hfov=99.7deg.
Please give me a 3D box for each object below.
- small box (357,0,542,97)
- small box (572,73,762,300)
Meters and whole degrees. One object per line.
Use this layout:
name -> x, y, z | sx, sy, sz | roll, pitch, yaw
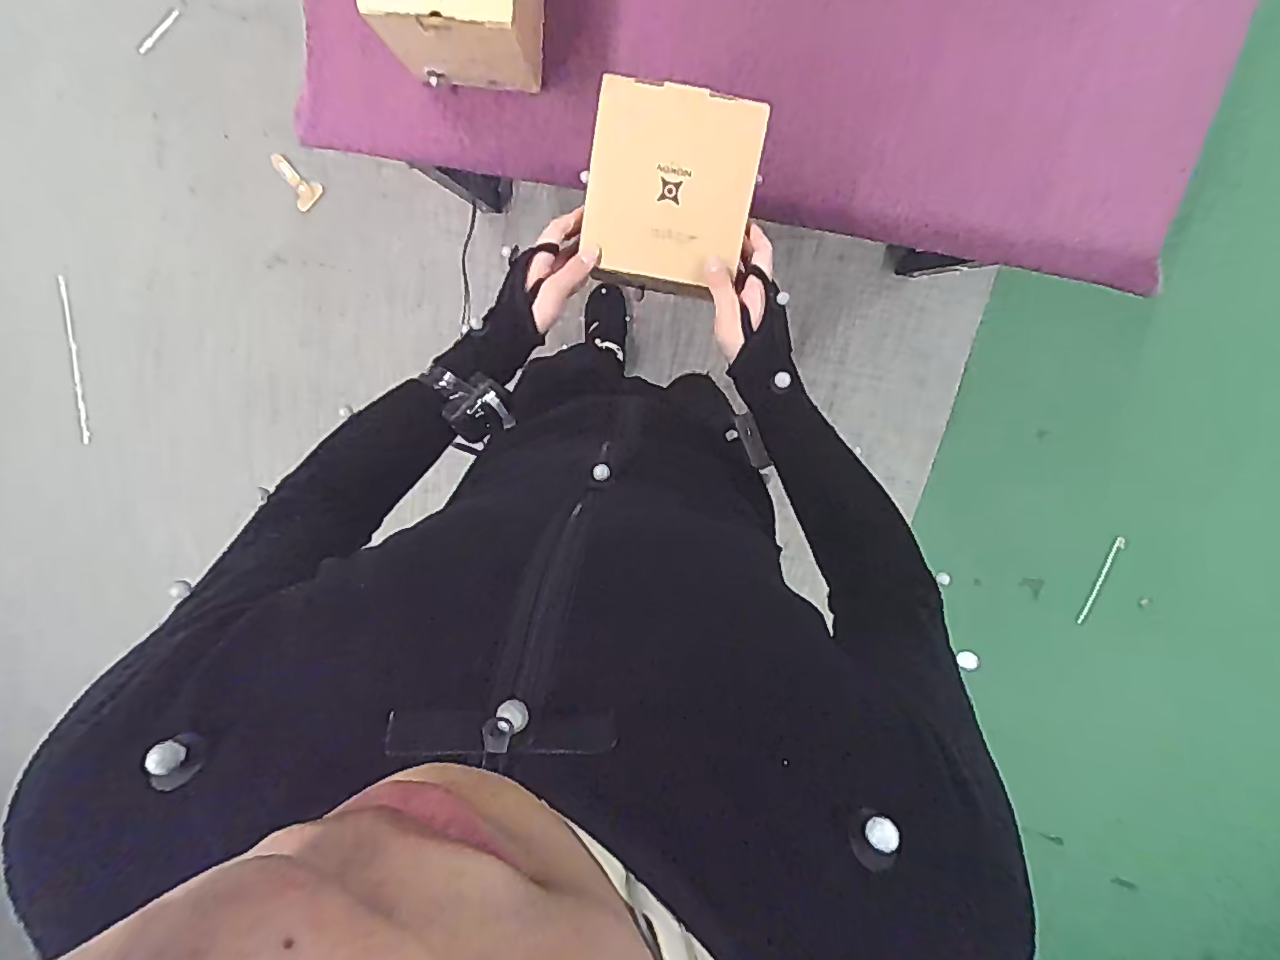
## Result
small box -> -0.210, -0.583, 0.632 | 0.168, 0.176, 0.179 | 5, 104, -1
small box -> 0.026, -0.315, 0.619 | 0.168, 0.176, 0.179 | 11, 105, 0
